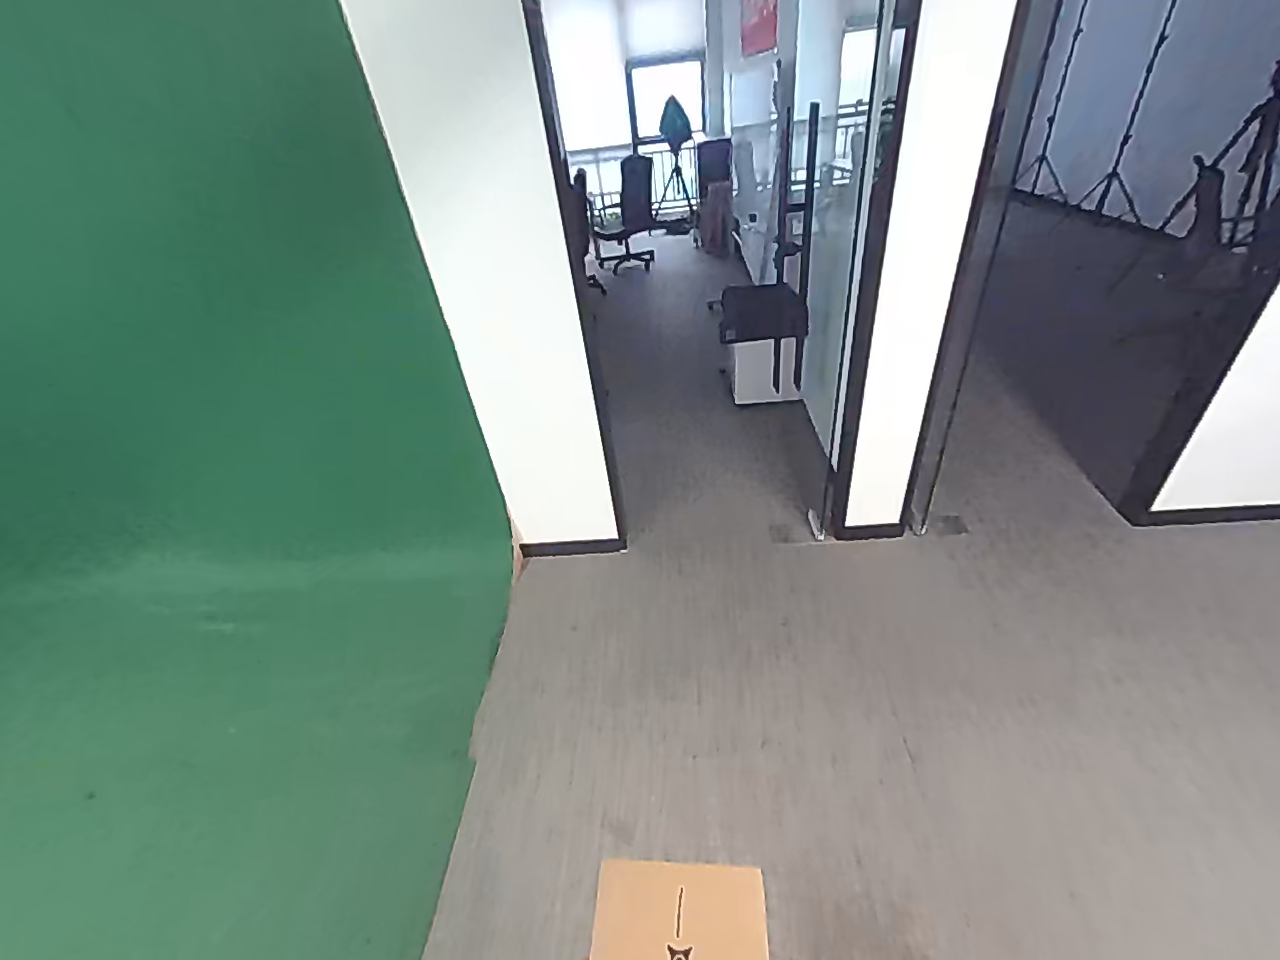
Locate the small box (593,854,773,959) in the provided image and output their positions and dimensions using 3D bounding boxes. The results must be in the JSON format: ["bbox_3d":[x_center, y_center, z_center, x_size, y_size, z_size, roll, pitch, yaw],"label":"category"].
[{"bbox_3d":[0.046,0.501,0.527,0.168,0.176,0.179,-2,34,7],"label":"small box"}]
